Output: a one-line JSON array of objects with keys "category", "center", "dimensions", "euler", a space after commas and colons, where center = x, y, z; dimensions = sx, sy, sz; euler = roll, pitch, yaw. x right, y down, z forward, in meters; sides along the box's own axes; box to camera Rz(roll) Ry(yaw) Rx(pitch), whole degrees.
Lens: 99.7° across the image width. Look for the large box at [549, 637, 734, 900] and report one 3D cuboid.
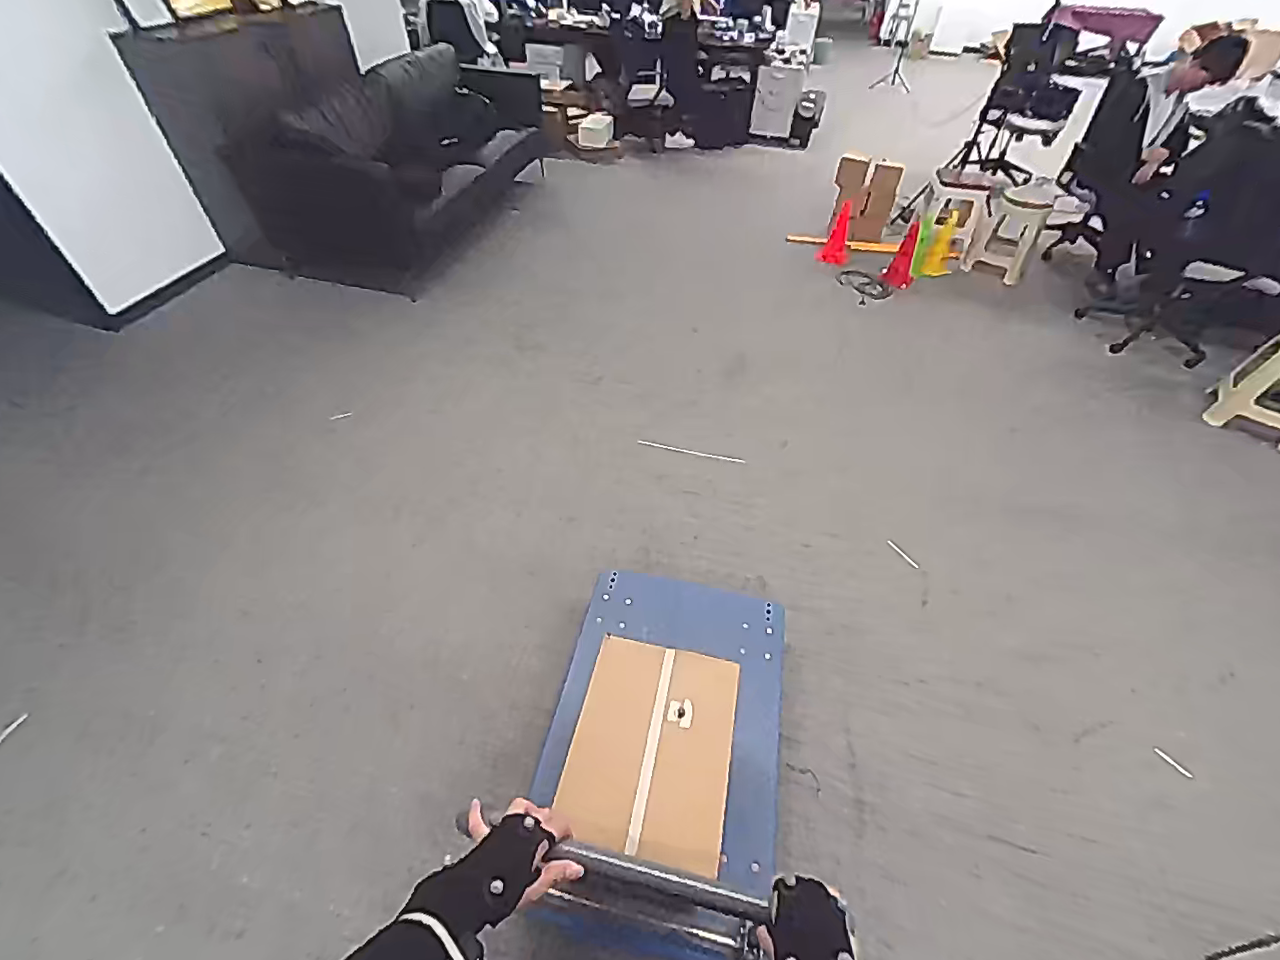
[{"category": "large box", "center": [0.019, 0.625, 1.188], "dimensions": [0.320, 0.320, 0.408], "euler": [10, 46, 7]}]
